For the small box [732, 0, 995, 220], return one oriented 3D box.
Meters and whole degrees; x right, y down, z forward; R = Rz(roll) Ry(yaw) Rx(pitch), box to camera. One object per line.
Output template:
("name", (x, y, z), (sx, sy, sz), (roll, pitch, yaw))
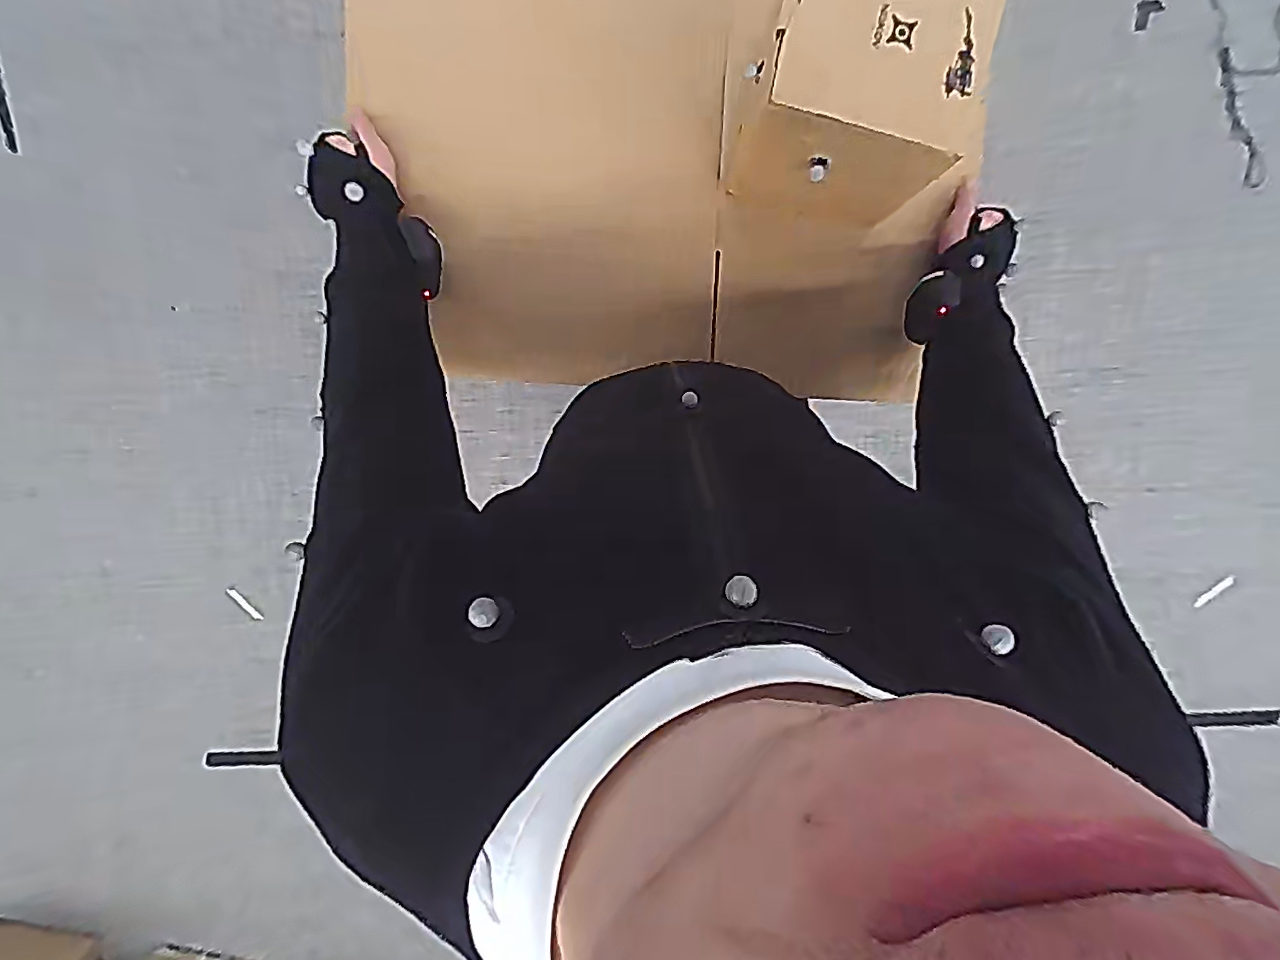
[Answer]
("small box", (0.201, -0.382, 0.531), (0.179, 0.176, 0.168), (13, 94, -3))
